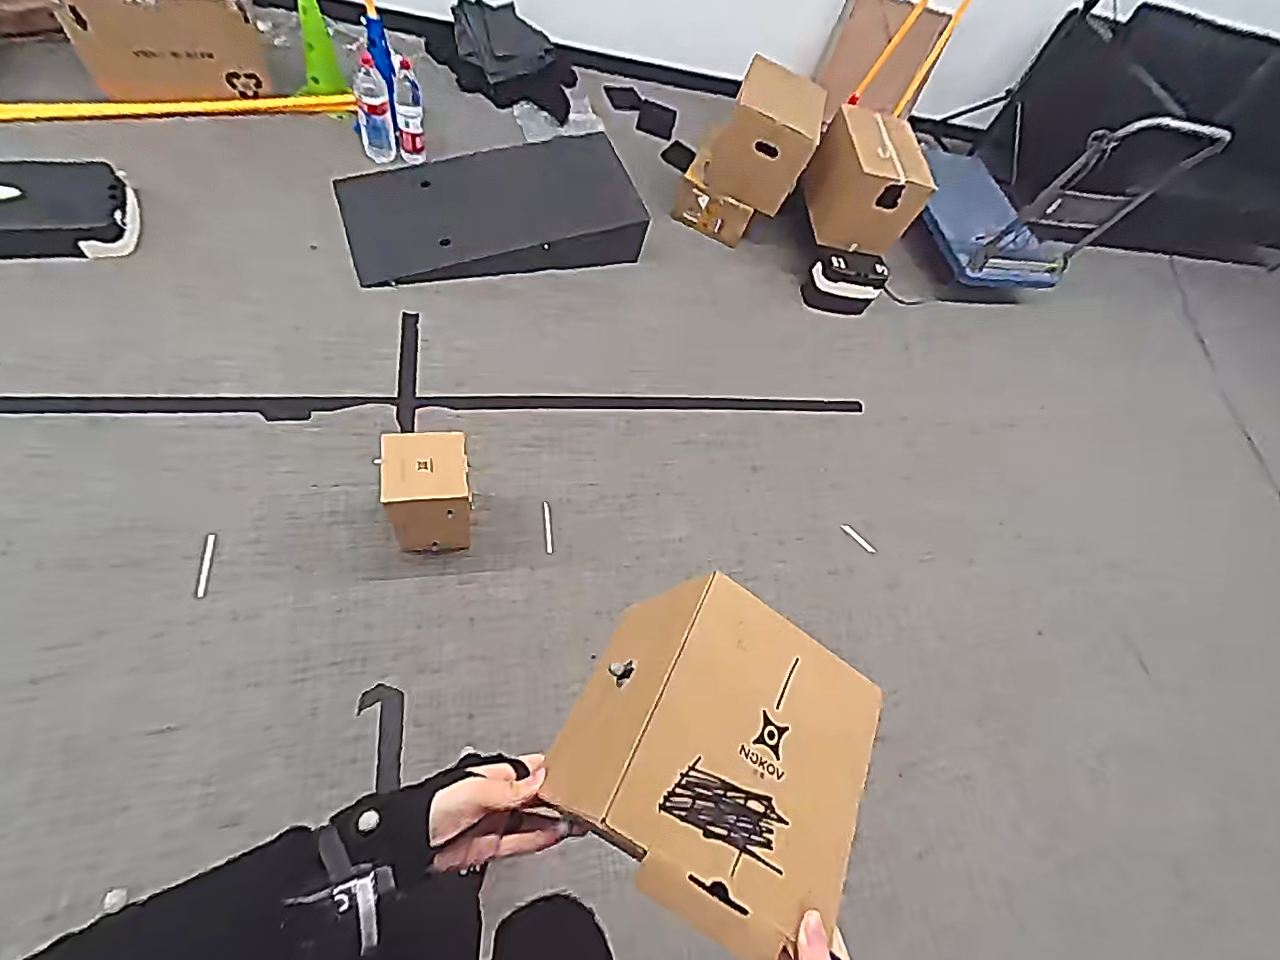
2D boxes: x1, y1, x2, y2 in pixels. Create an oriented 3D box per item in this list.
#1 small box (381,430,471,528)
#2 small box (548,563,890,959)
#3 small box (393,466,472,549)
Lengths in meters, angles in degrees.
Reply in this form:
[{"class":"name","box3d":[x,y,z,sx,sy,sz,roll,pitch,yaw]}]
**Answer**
[{"class":"small box","box3d":[-0.478,0.000,1.223,0.179,0.176,0.168,-3,65,-17]},{"class":"small box","box3d":[0.048,0.196,0.409,0.168,0.176,0.179,37,57,-7]},{"class":"small box","box3d":[-0.519,0.068,1.367,0.179,0.176,0.168,-1,64,-18]}]
